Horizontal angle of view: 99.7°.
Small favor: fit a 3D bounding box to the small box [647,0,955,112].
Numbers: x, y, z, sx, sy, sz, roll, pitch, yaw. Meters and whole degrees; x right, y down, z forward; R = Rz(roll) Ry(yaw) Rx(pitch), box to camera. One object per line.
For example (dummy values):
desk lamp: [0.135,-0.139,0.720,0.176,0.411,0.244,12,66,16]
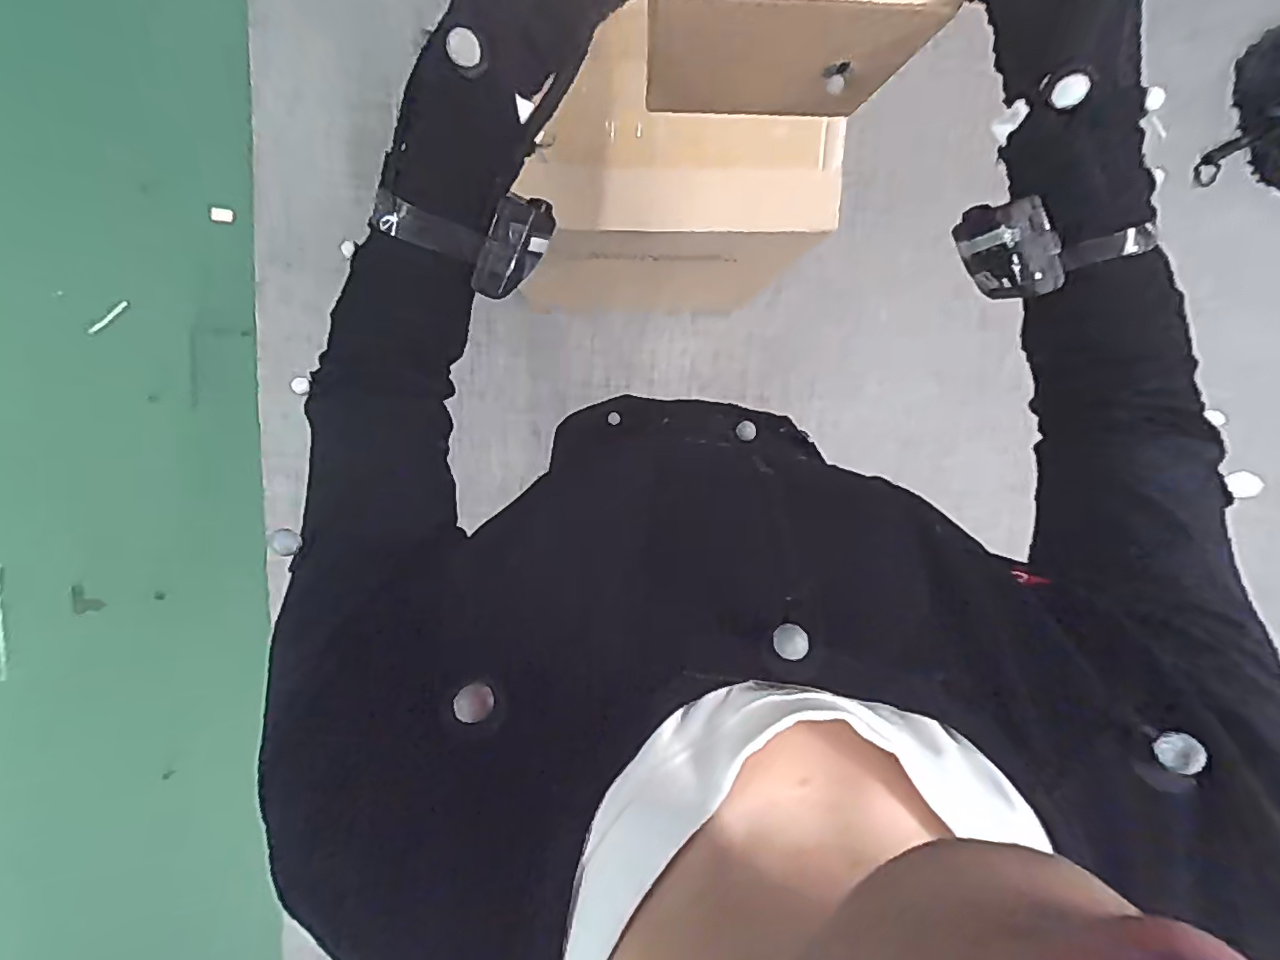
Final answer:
small box: [0.094,-0.369,0.358,0.179,0.176,0.168,-1,105,0]
